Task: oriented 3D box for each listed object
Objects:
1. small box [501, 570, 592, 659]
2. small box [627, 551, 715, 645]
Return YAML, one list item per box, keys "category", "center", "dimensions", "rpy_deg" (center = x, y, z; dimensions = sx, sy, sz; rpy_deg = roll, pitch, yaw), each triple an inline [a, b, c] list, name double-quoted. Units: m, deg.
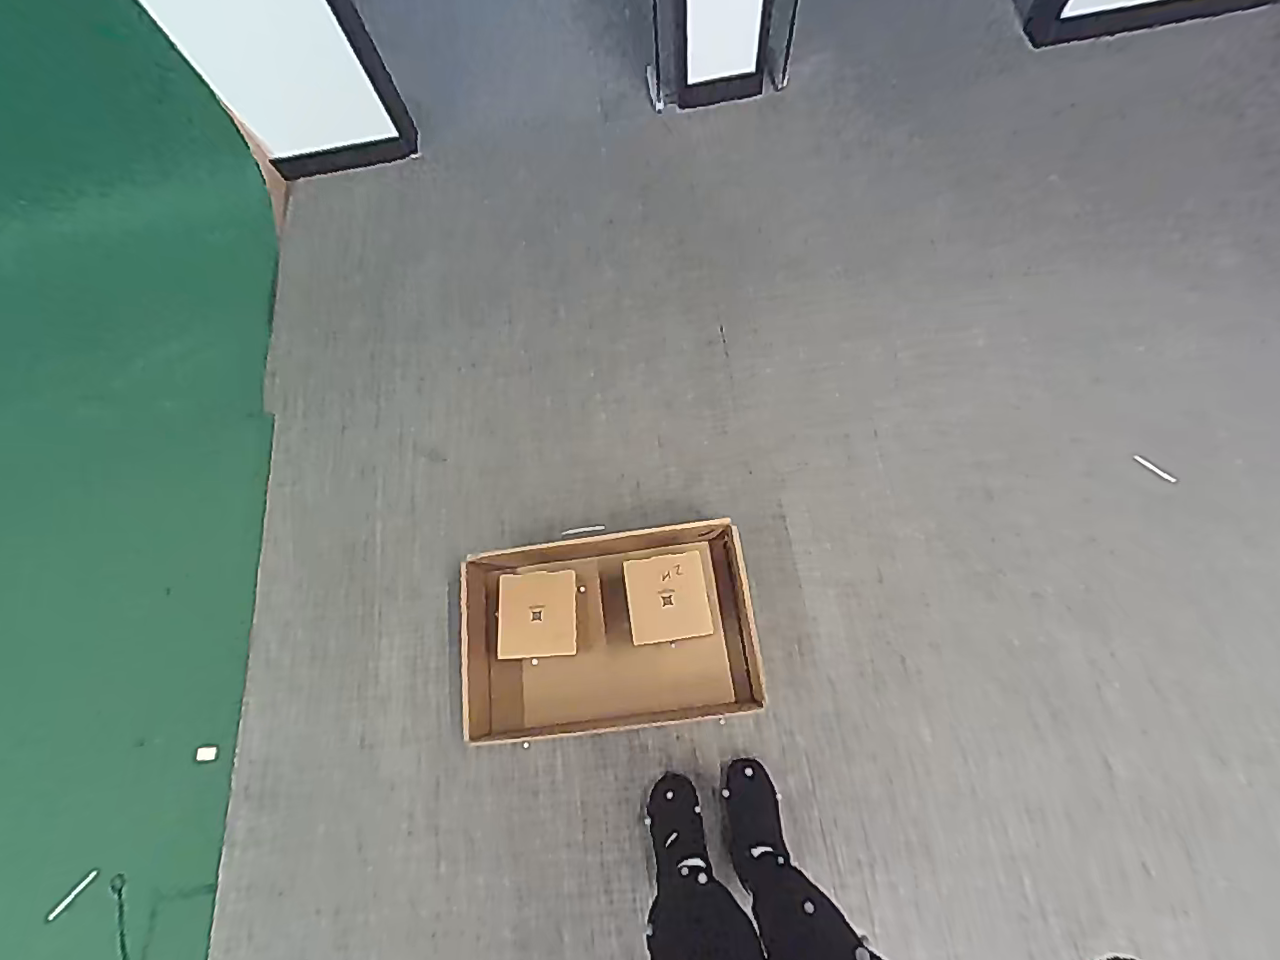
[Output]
- category: "small box"
  center: [-0.202, 0.303, 1.205]
  dimensions: [0.168, 0.176, 0.179]
  rpy_deg: [-5, 71, 3]
- category: "small box"
  center: [0.069, 0.264, 1.190]
  dimensions: [0.168, 0.176, 0.179]
  rpy_deg: [-9, 71, 2]
